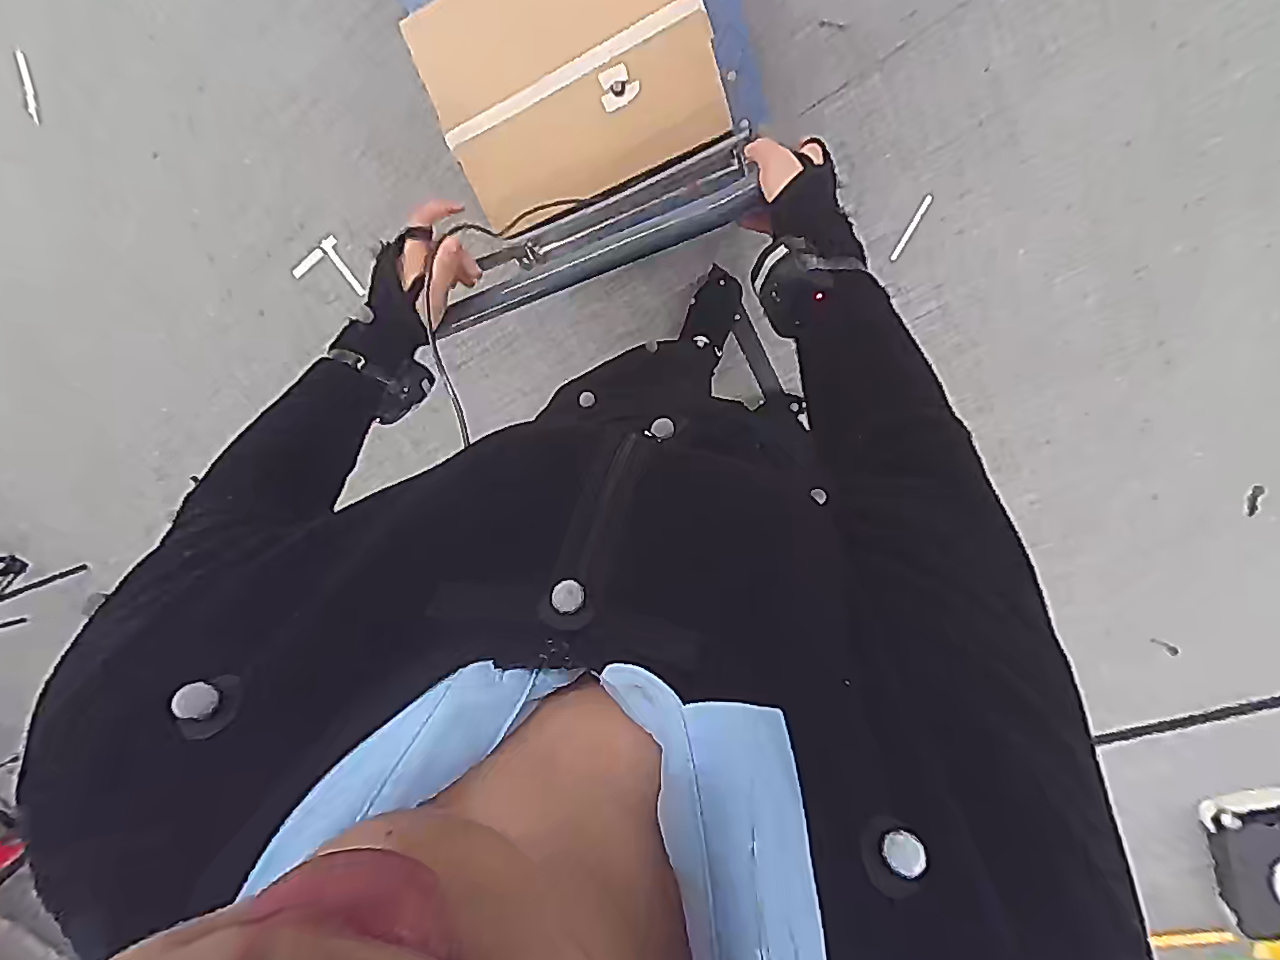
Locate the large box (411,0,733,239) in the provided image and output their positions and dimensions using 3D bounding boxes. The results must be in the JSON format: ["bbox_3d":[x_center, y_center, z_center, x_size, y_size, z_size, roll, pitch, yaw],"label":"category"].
[{"bbox_3d":[-0.081,-0.646,0.916,0.408,0.320,0.320,-17,113,16],"label":"large box"}]
